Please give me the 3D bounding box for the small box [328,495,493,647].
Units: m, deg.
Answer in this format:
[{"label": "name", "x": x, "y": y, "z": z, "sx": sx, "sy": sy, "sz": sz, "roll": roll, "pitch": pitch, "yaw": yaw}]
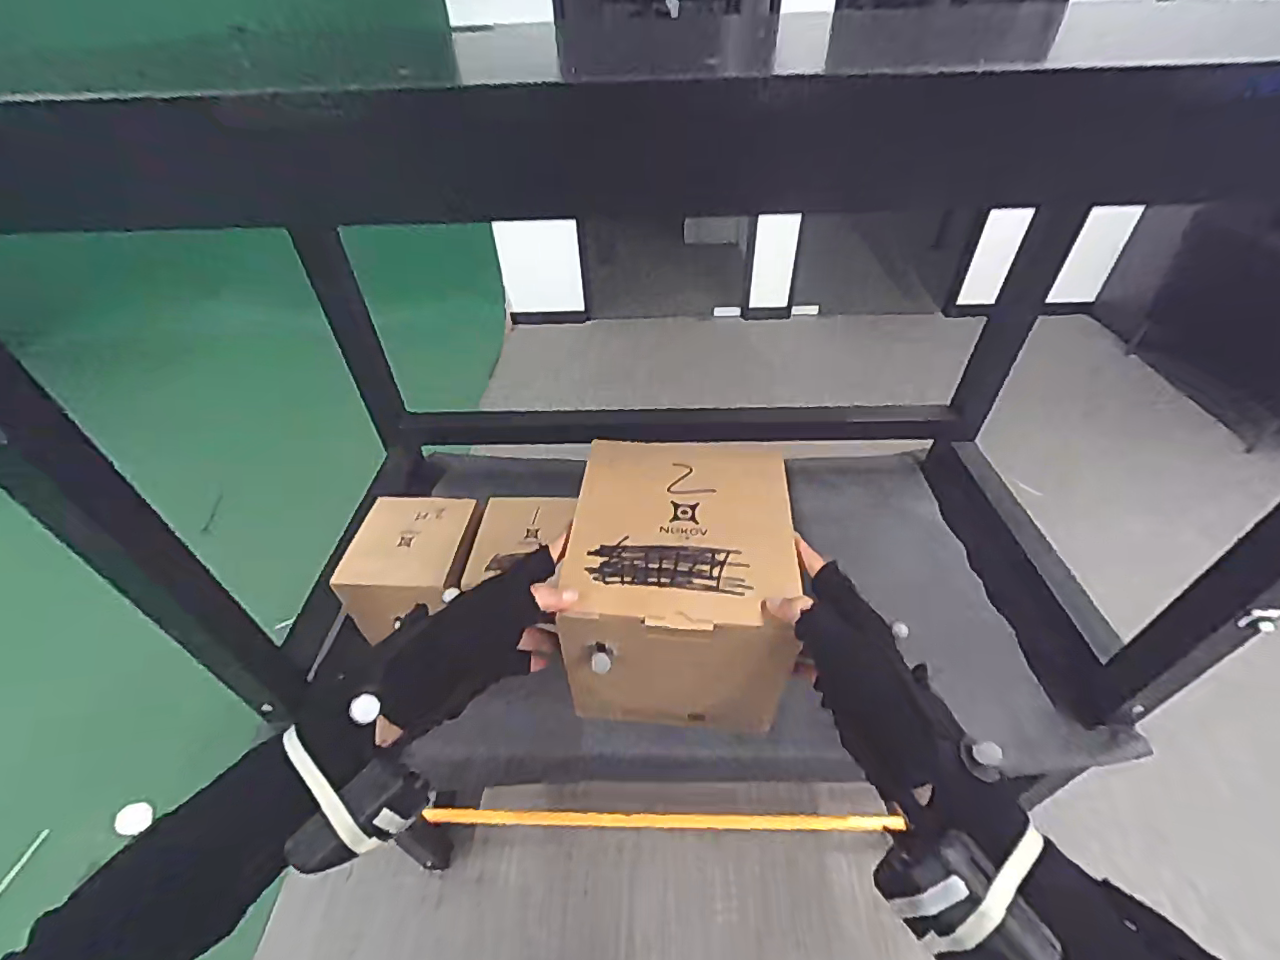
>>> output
[{"label": "small box", "x": -0.344, "y": 0.145, "z": 0.855, "sx": 0.168, "sy": 0.176, "sz": 0.179, "roll": 2, "pitch": 42, "yaw": 3}]
